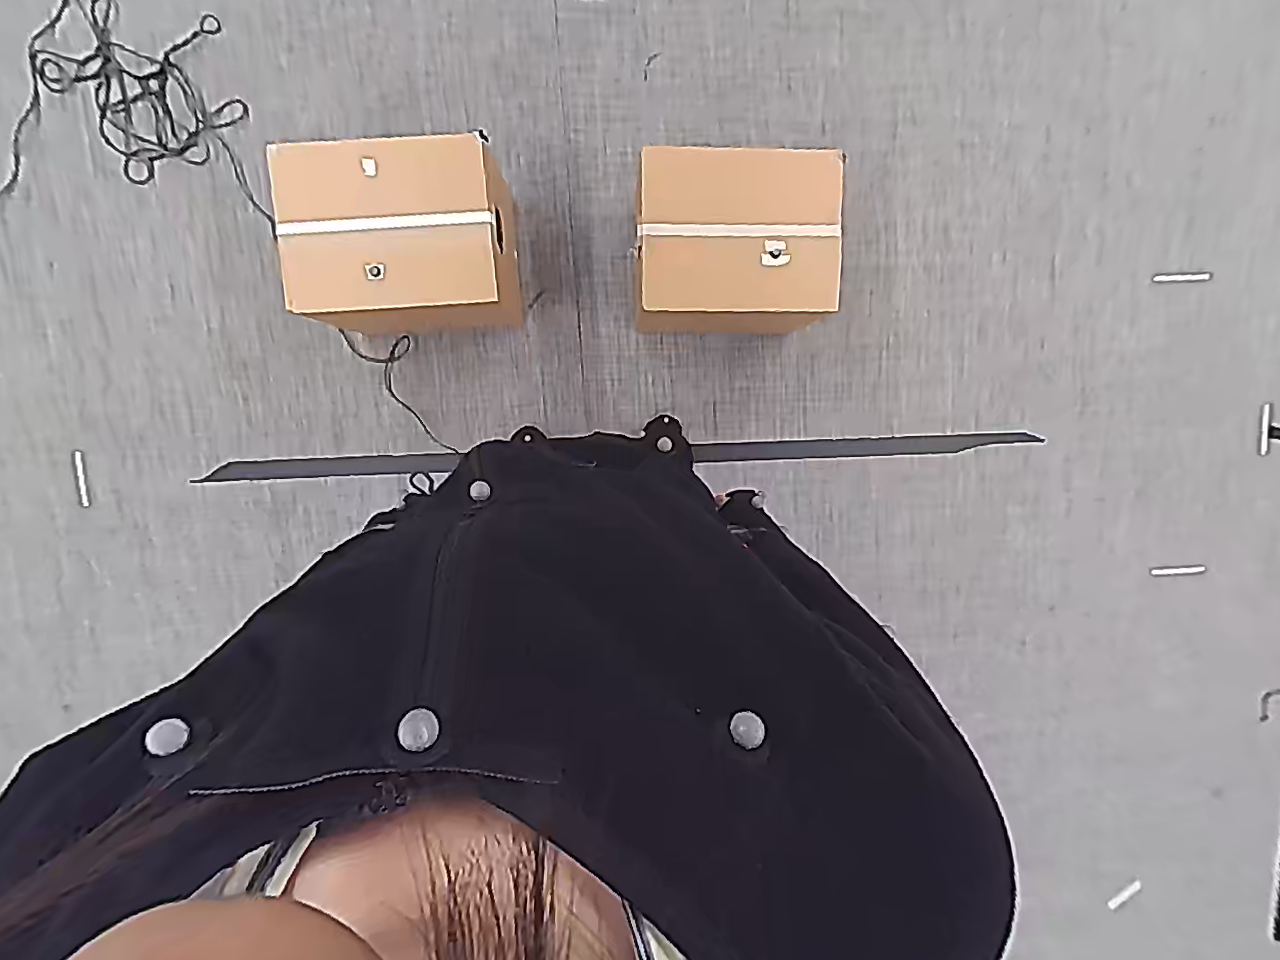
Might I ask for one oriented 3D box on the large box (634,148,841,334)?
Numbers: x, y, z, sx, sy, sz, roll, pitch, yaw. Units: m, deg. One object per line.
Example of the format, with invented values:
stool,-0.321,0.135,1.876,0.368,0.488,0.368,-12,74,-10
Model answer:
large box,0.197,-0.517,1.234,0.408,0.320,0.320,0,97,-4
